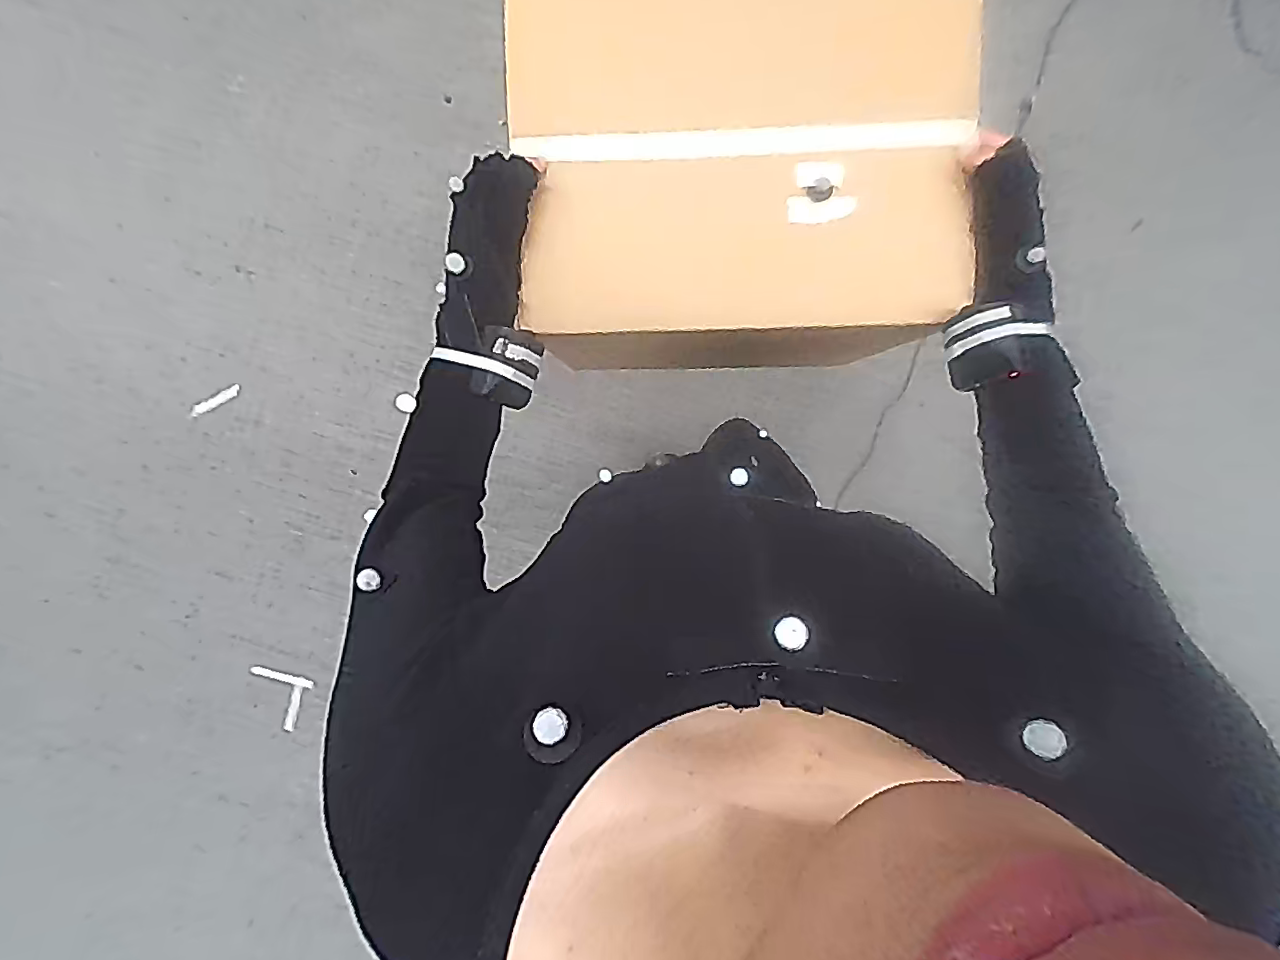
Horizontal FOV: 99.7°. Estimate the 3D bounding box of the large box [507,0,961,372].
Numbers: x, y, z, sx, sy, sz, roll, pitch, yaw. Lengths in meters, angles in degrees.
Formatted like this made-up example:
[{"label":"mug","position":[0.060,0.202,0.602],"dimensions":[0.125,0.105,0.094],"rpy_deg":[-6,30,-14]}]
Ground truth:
[{"label":"large box","position":[0.087,-0.310,0.634],"dimensions":[0.408,0.320,0.320],"rpy_deg":[-2,95,1]}]
